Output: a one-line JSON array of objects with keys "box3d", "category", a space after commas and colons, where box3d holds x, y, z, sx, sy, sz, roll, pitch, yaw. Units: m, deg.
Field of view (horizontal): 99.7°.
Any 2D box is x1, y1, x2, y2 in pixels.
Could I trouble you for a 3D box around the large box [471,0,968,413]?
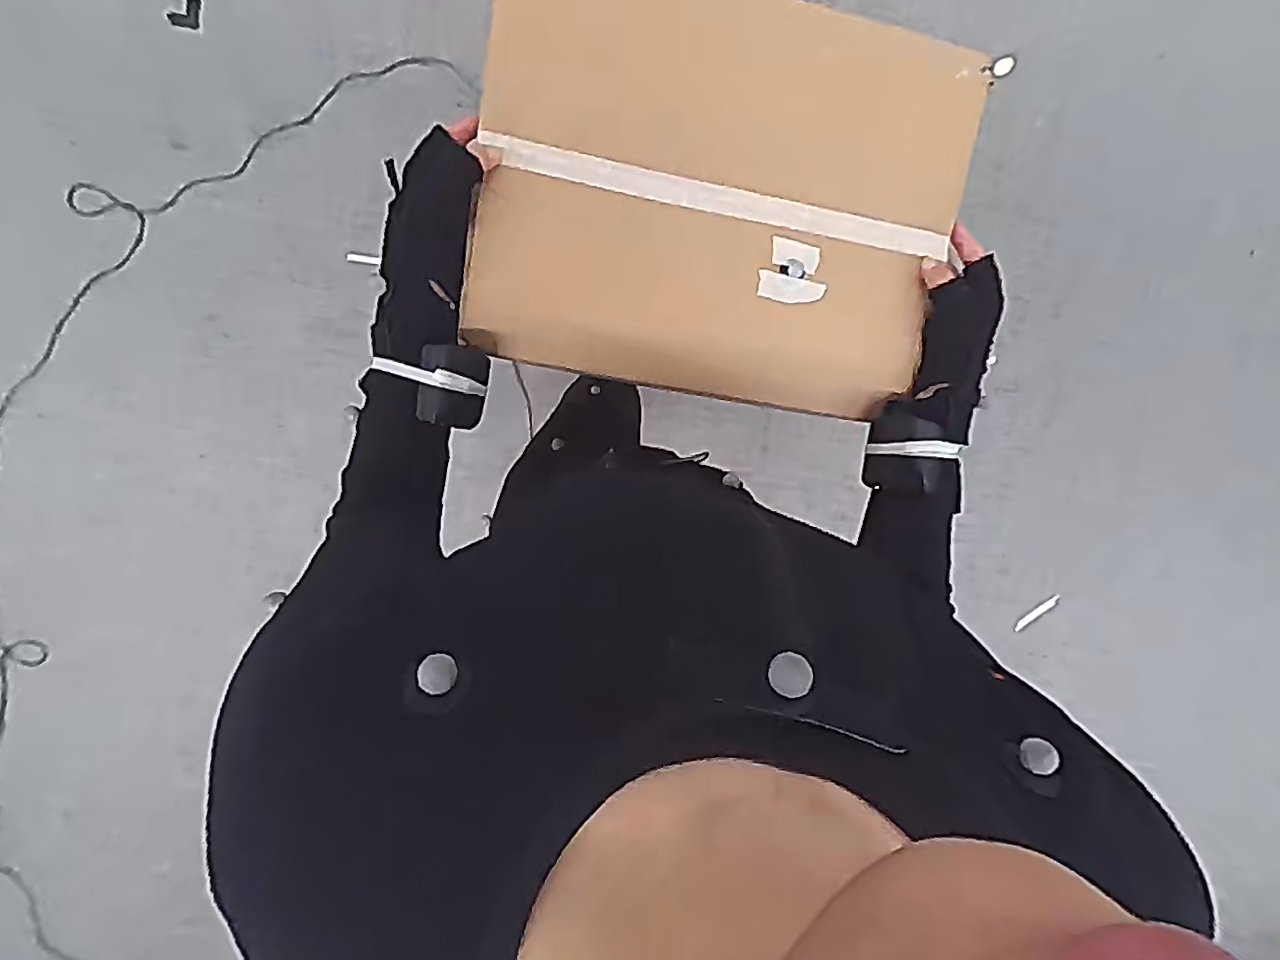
[{"box3d": [0.050, -0.265, 0.609, 0.408, 0.320, 0.320, 8, 101, -9], "category": "large box"}]
